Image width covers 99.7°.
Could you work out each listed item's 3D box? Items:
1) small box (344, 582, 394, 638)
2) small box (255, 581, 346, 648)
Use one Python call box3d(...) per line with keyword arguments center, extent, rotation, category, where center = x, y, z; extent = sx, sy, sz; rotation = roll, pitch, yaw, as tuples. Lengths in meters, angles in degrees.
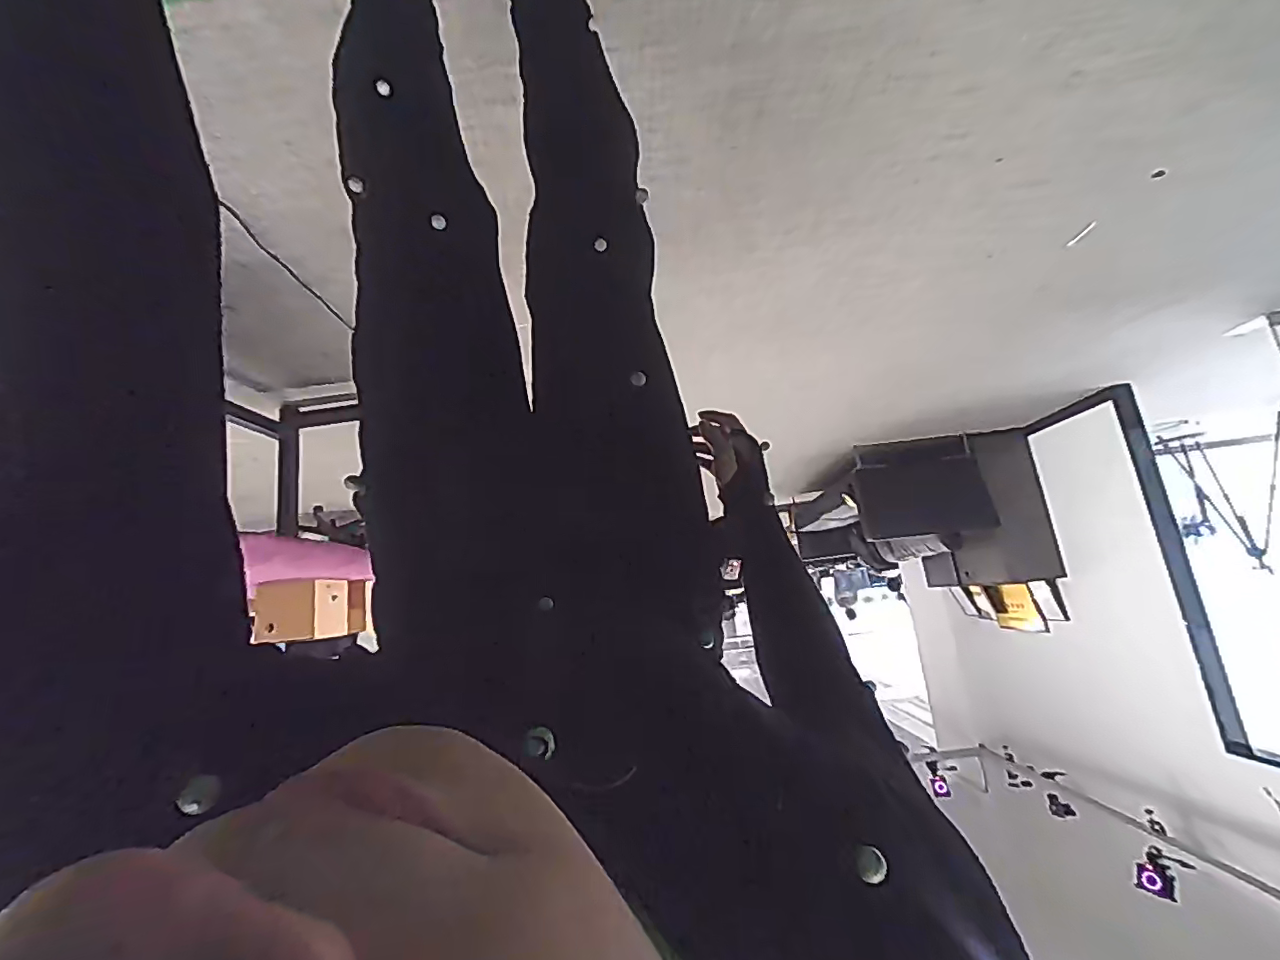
box3d(center=(-0.959, 0.444, 1.836), extent=(0.179, 0.176, 0.168), rotation=(-9, 168, 6), category="small box")
box3d(center=(-0.991, 0.395, 1.593), extent=(0.179, 0.176, 0.168), rotation=(-7, 168, 0), category="small box")
